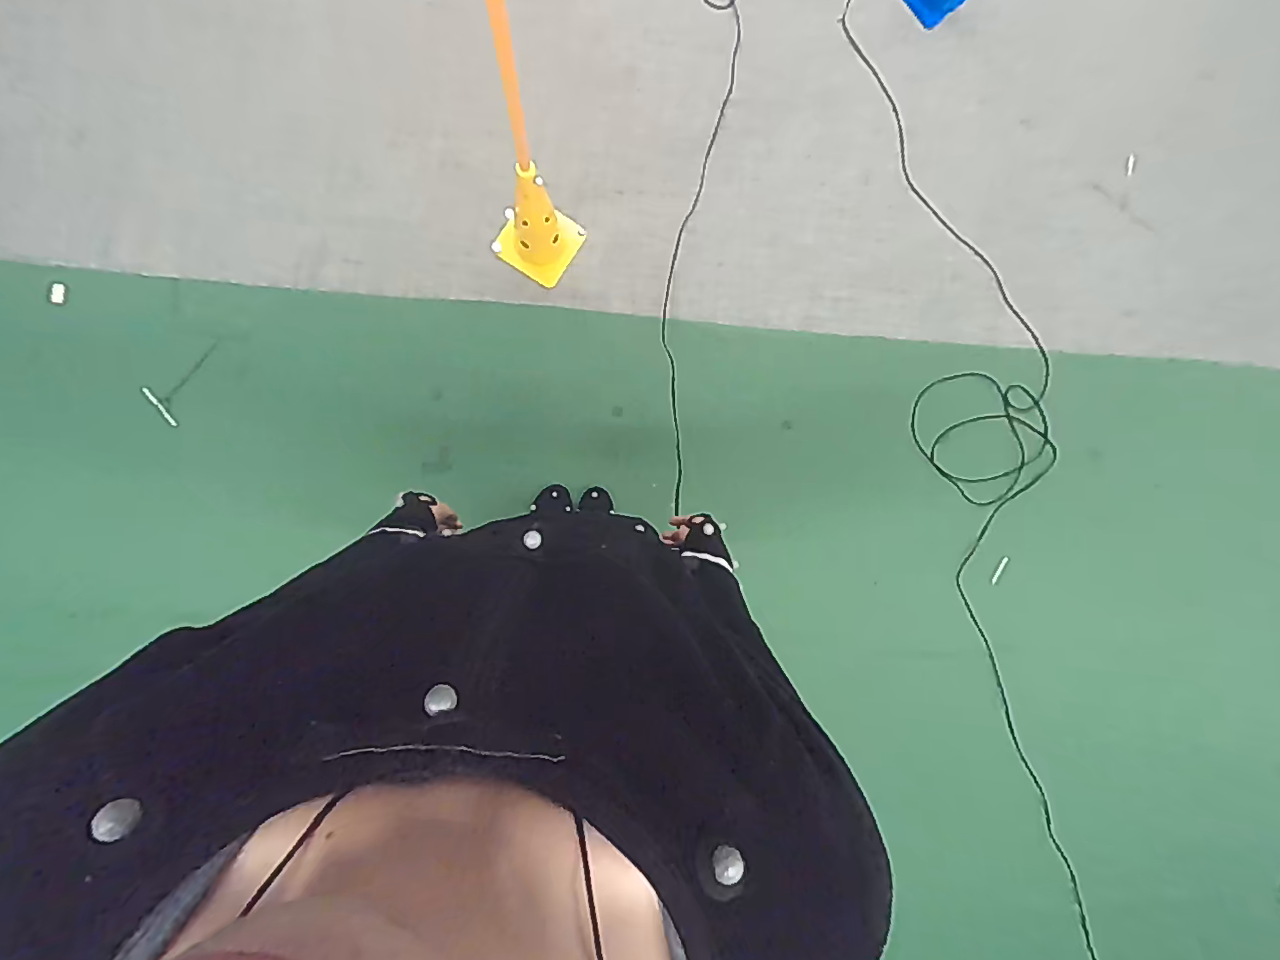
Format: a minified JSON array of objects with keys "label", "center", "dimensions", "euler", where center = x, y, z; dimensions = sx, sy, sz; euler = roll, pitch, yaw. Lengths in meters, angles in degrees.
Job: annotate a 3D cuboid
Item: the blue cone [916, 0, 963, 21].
[{"label":"blue cone","center":[0.909,-1.505,1.461],"dimensions":[0.193,0.380,0.192],"euler":[-43,93,-7]}]
